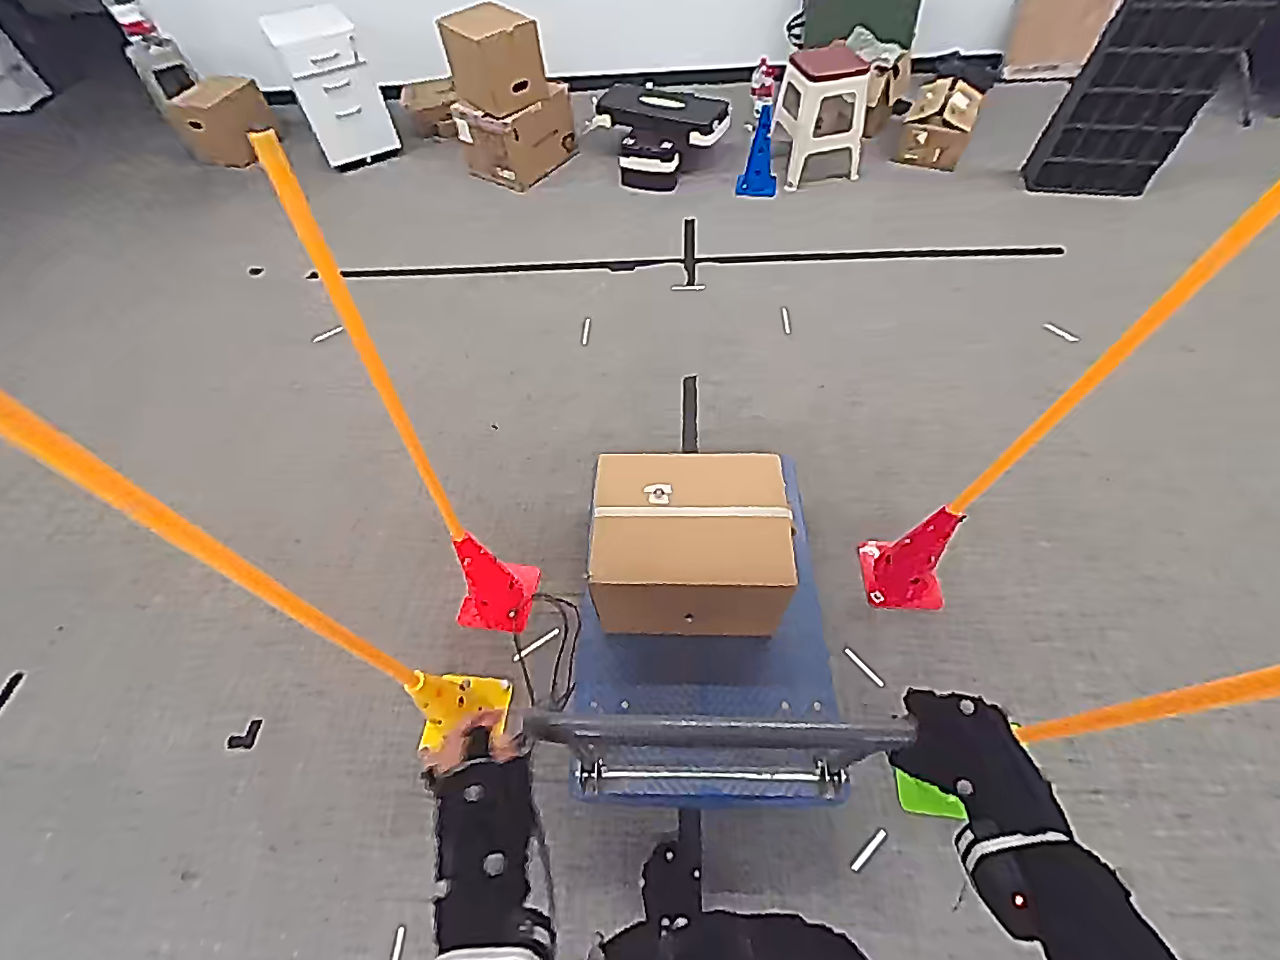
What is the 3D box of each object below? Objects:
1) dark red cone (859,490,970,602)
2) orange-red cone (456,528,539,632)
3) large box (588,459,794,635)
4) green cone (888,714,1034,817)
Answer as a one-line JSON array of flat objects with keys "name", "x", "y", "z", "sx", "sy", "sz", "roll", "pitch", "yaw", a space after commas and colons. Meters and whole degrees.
[{"name": "dark red cone", "x": 0.722, "y": 0.150, "z": 1.370, "sx": 0.201, "sy": 0.394, "sz": 0.202, "roll": 1, "pitch": 56, "yaw": 2}, {"name": "orange-red cone", "x": -0.409, "y": 0.228, "z": 1.410, "sx": 0.198, "sy": 0.360, "sz": 0.199, "roll": 7, "pitch": 55, "yaw": 7}, {"name": "large box", "x": 0.110, "y": 0.165, "z": 1.246, "sx": 0.408, "sy": 0.320, "sz": 0.320, "roll": 0, "pitch": 56, "yaw": 4}, {"name": "green cone", "x": 0.682, "y": 0.559, "z": 1.110, "sx": 0.202, "sy": 0.368, "sz": 0.200, "roll": 4, "pitch": 56, "yaw": 5}]
